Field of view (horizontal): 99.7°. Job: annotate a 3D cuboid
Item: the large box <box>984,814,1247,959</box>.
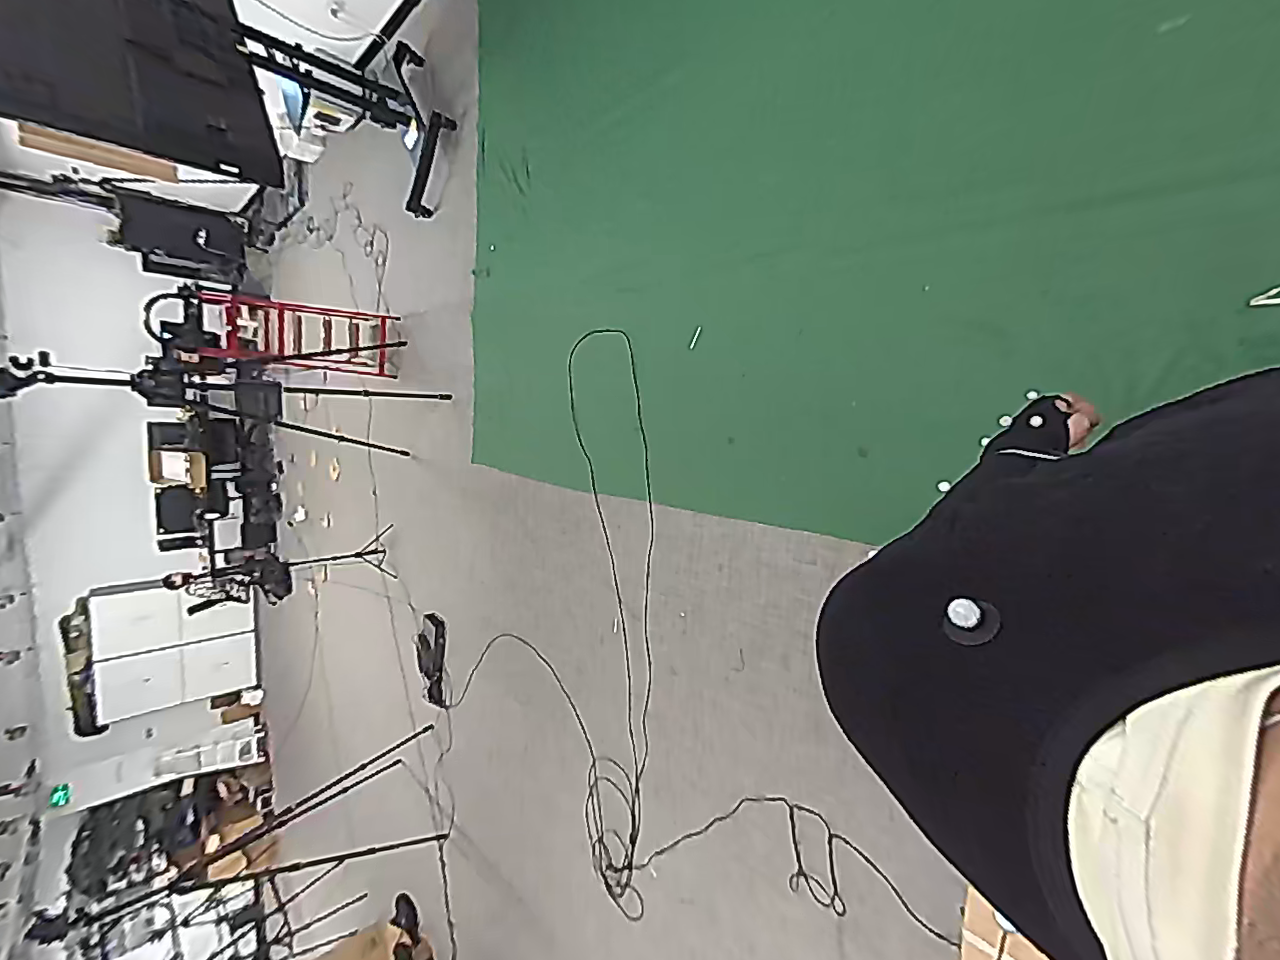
[{"bbox_3d":[1.037,1.047,1.207,0.408,0.320,0.320,6,97,44],"label":"large box"}]
